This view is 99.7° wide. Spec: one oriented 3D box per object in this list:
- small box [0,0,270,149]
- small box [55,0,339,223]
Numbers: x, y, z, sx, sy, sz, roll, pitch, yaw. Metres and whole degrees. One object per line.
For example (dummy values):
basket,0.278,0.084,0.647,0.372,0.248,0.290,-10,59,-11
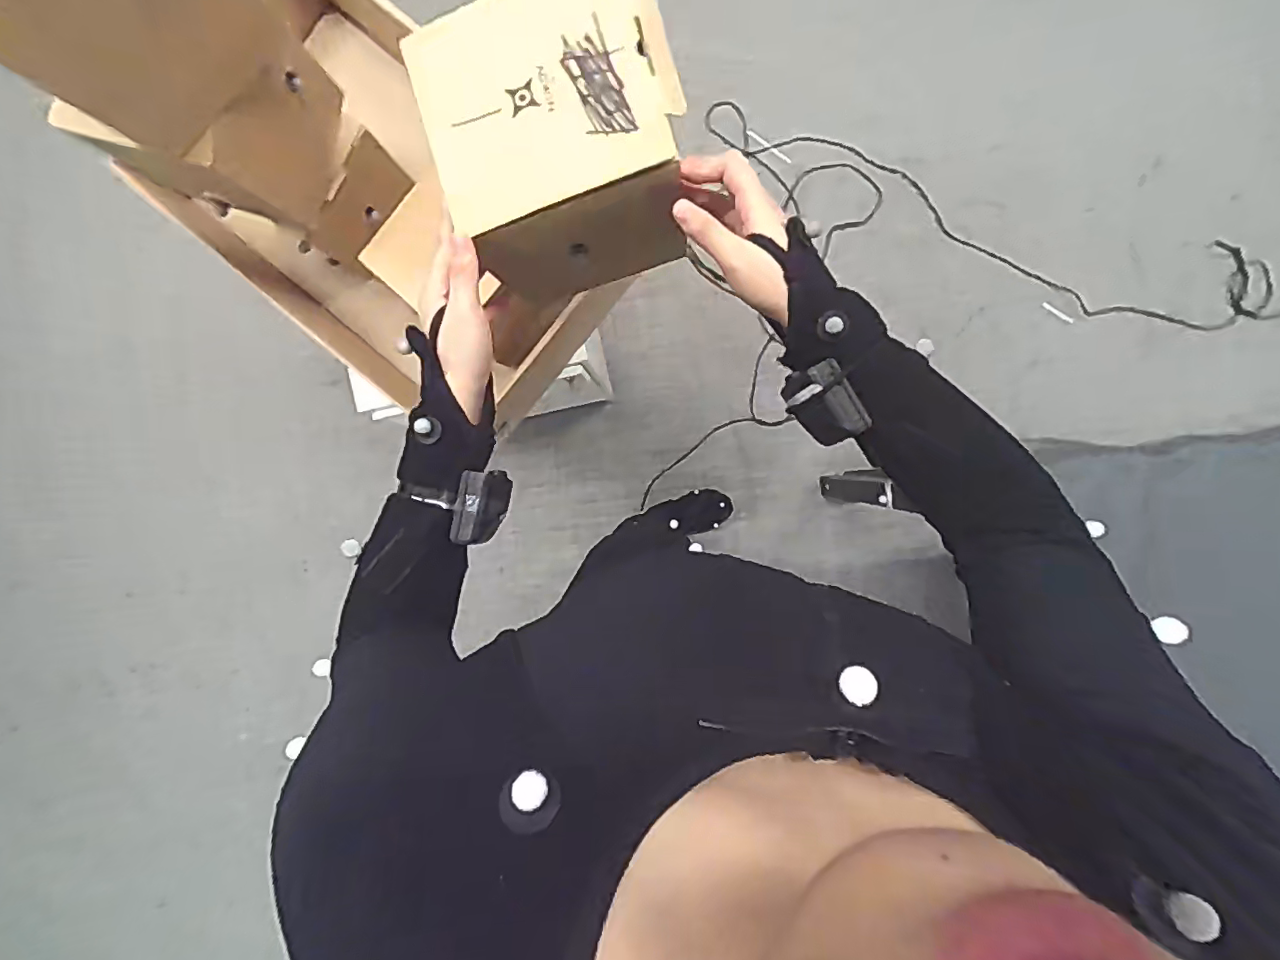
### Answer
small box,-0.447,-0.424,0.433,0.179,0.176,0.168,-45,91,4
small box,-0.468,-0.419,0.599,0.168,0.176,0.179,15,96,1
